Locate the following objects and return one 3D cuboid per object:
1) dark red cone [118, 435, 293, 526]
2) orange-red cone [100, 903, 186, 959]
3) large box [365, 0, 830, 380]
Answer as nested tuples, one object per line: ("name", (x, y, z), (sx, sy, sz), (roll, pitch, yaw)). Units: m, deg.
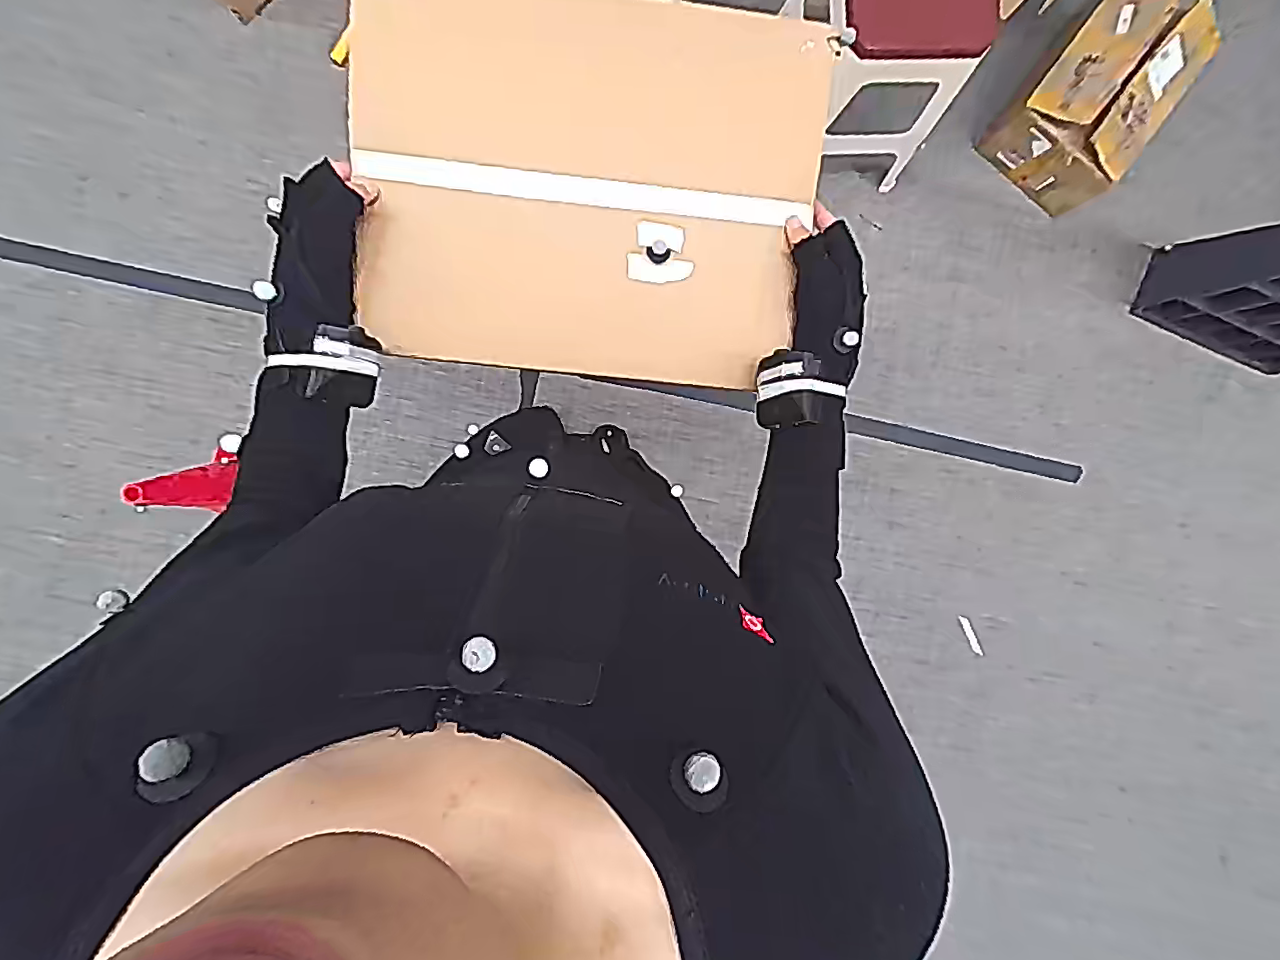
("dark red cone", (-0.988, 0.011, 1.214), (0.201, 0.394, 0.202), (18, 92, -6))
("orange-red cone", (-1.329, 1.263, 1.293), (0.198, 0.360, 0.199), (9, 94, -3))
("large box", (-0.053, -0.287, 0.629), (0.408, 0.320, 0.320), (5, 101, -5))
